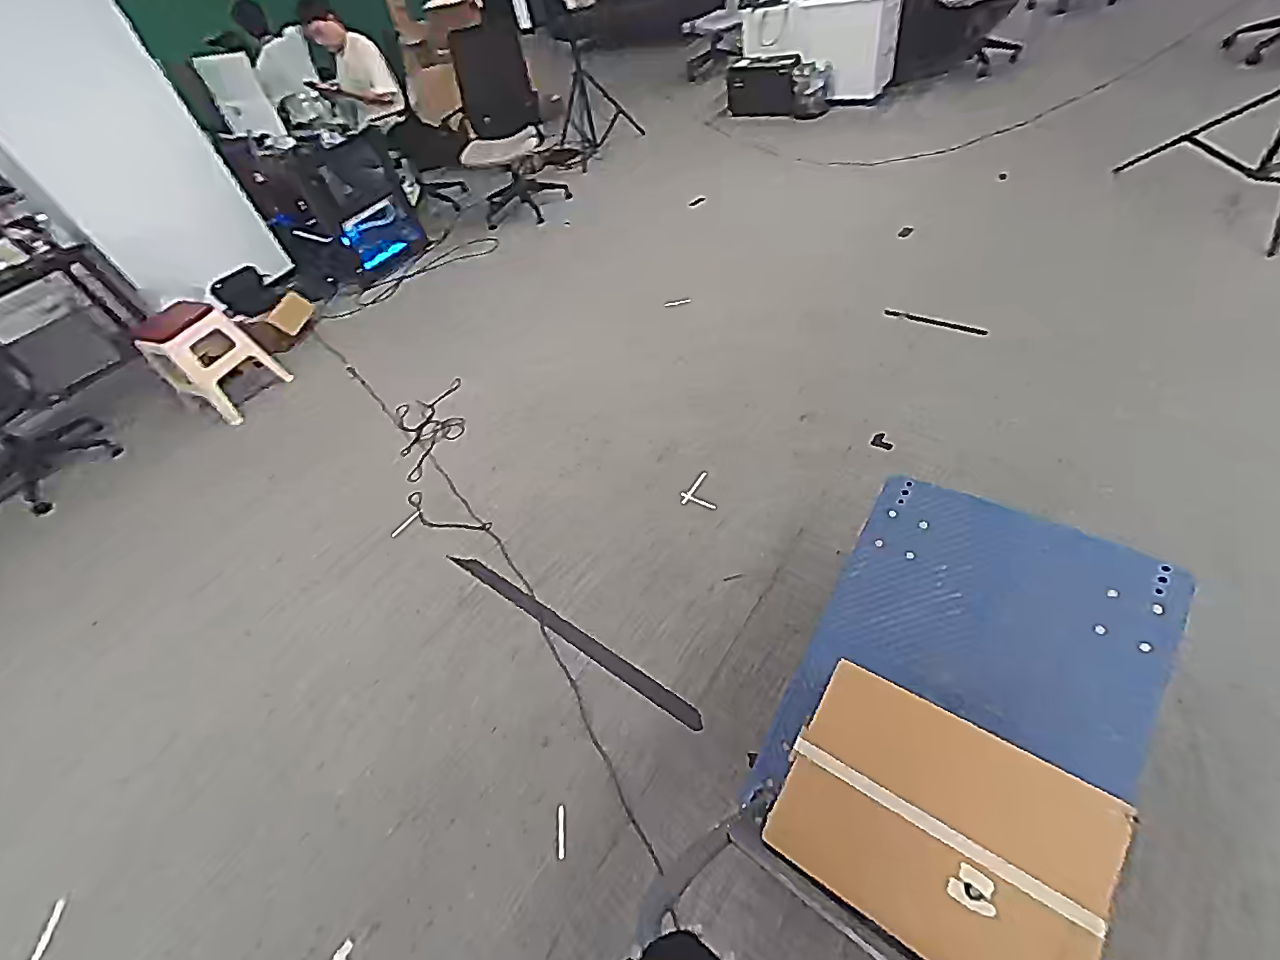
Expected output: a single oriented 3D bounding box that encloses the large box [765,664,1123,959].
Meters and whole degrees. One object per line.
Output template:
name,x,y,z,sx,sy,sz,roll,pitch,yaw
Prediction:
large box,0.477,0.567,0.925,0.408,0.320,0.320,23,76,29
